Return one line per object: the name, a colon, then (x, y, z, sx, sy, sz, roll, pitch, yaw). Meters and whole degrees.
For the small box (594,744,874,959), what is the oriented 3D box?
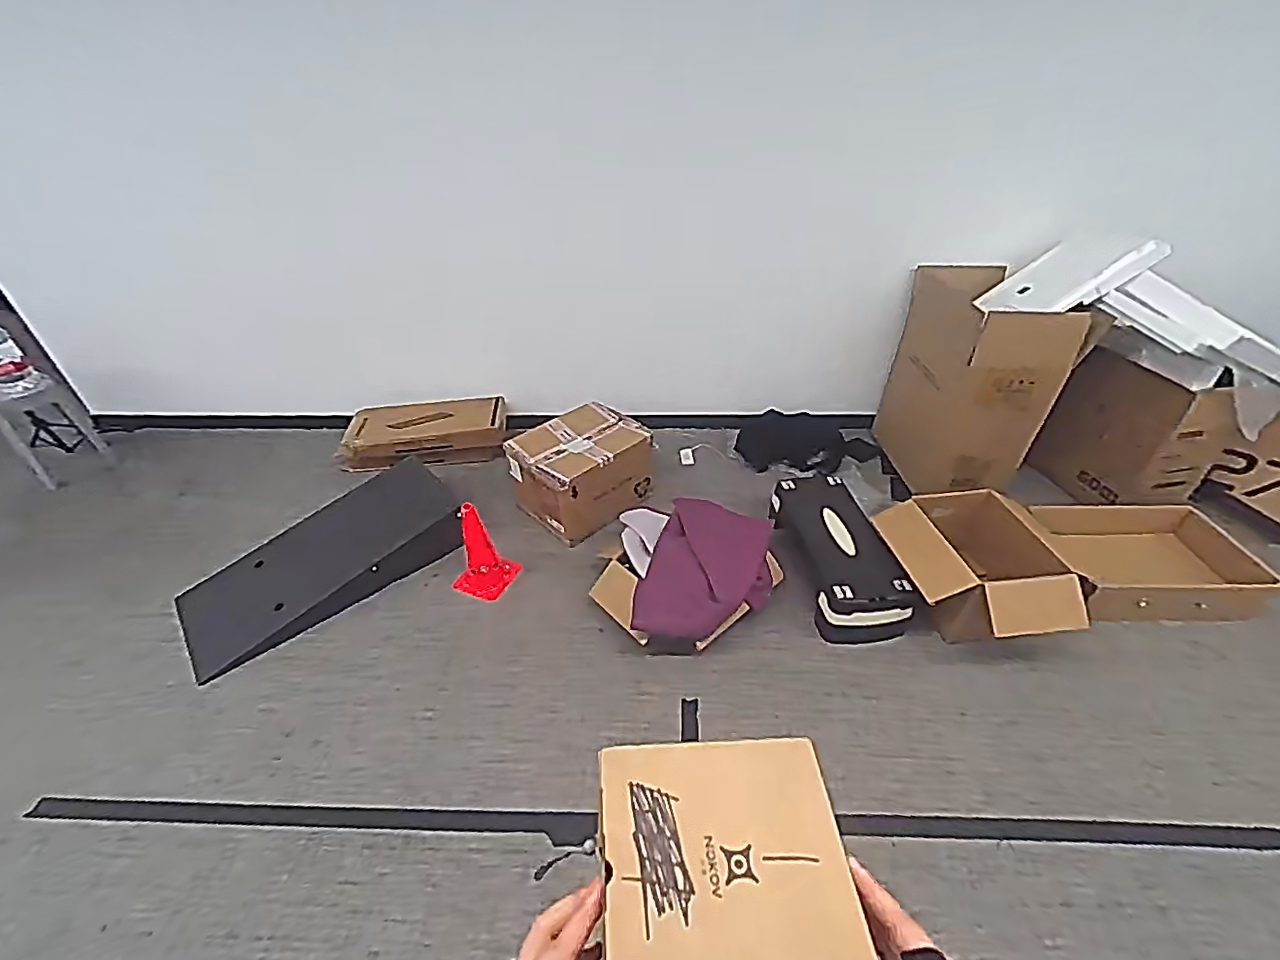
small box: (0.054, 0.329, 0.423, 0.179, 0.176, 0.168, -1, 42, -5)
